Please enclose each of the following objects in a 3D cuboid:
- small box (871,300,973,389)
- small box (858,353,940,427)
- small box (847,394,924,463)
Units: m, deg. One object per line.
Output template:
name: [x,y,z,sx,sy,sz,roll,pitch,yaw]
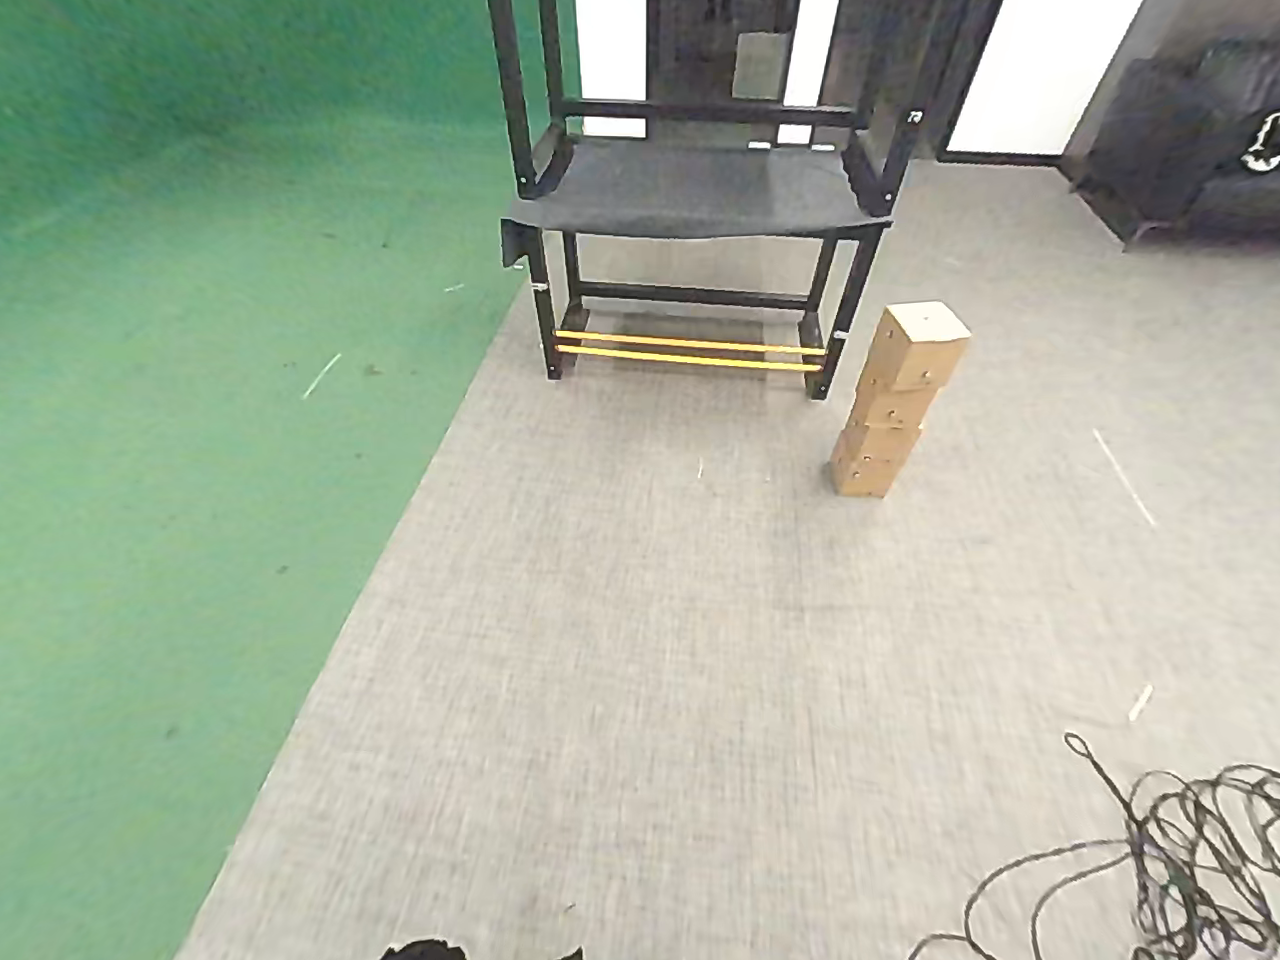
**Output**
small box: [0.773,-0.377,1.506,0.168,0.176,0.179,-5,50,-4]
small box: [0.777,-0.284,1.642,0.168,0.176,0.179,4,49,5]
small box: [0.790,-0.171,1.759,0.168,0.176,0.179,3,48,2]
